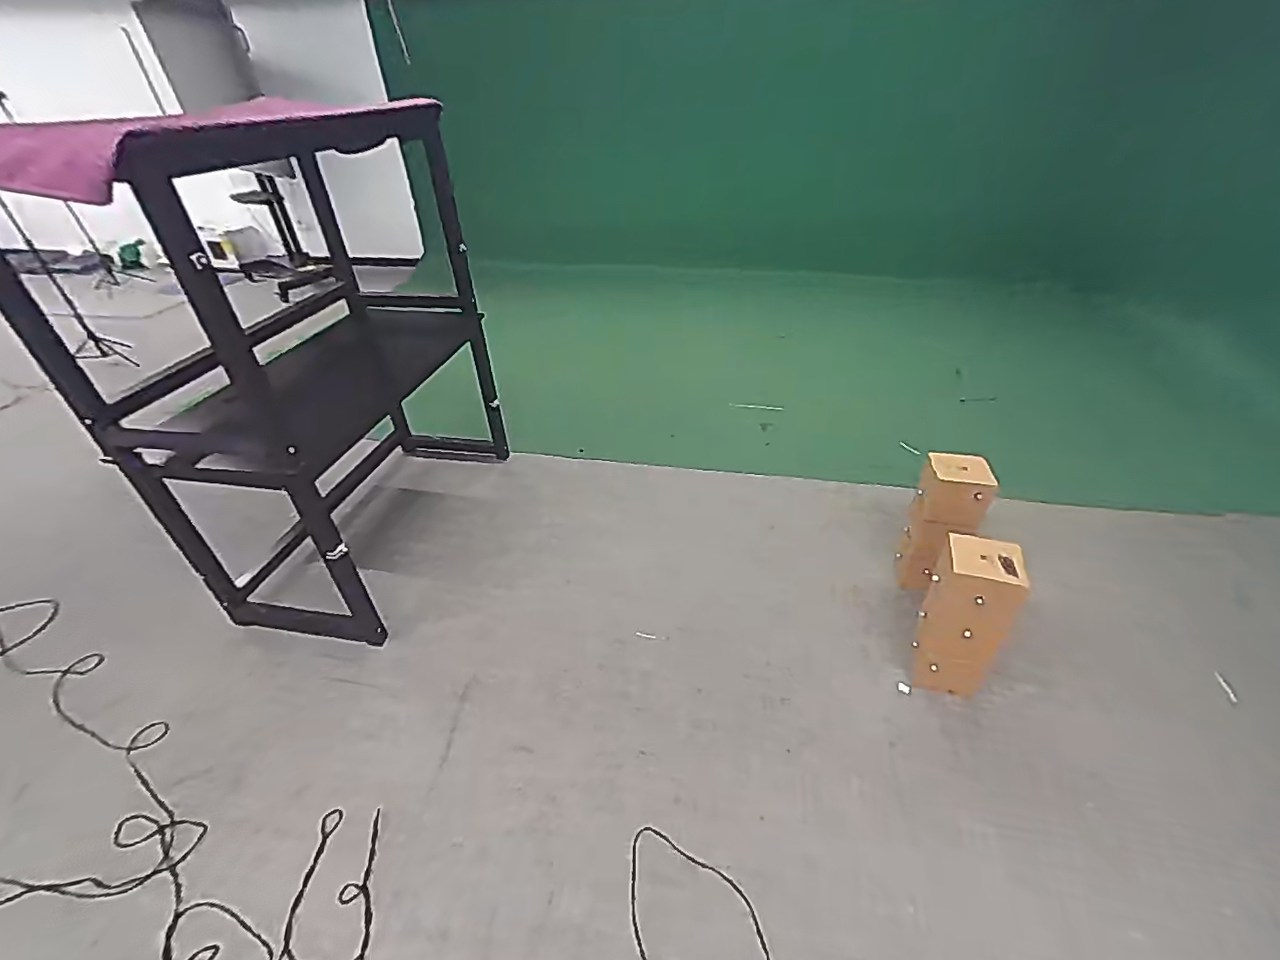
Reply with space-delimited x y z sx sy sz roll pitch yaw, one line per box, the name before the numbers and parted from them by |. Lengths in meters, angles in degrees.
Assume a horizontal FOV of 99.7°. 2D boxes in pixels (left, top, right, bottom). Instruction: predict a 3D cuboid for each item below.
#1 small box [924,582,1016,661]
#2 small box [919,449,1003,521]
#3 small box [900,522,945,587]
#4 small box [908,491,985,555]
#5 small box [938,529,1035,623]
small box | 0.943 0.394 1.560 0.179 0.176 0.168 9 38 17
small box | 1.047 0.018 1.780 0.179 0.176 0.168 6 36 11
small box | 1.066 0.278 1.979 0.179 0.176 0.168 7 38 14
small box | 1.057 0.149 1.879 0.179 0.176 0.168 5 36 12
small box | 0.927 0.262 1.463 0.179 0.176 0.168 10 38 19
